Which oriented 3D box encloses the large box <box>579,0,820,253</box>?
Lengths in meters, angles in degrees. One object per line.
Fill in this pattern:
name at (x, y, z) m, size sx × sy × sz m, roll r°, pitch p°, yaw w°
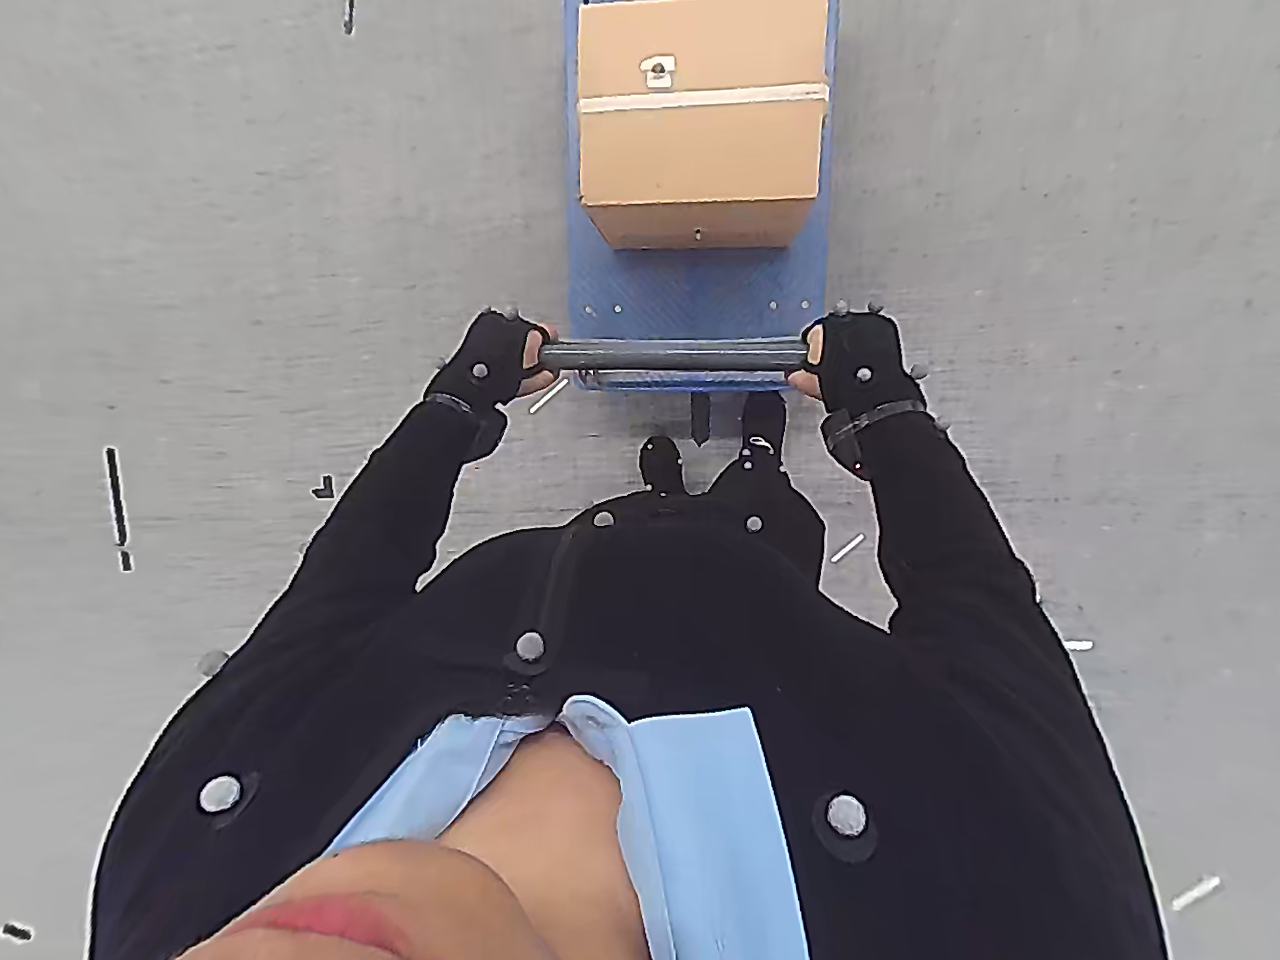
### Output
large box at (0.117, -0.647, 1.058) m, size 0.408 × 0.320 × 0.320 m, roll 2°, pitch 98°, yaw 8°
